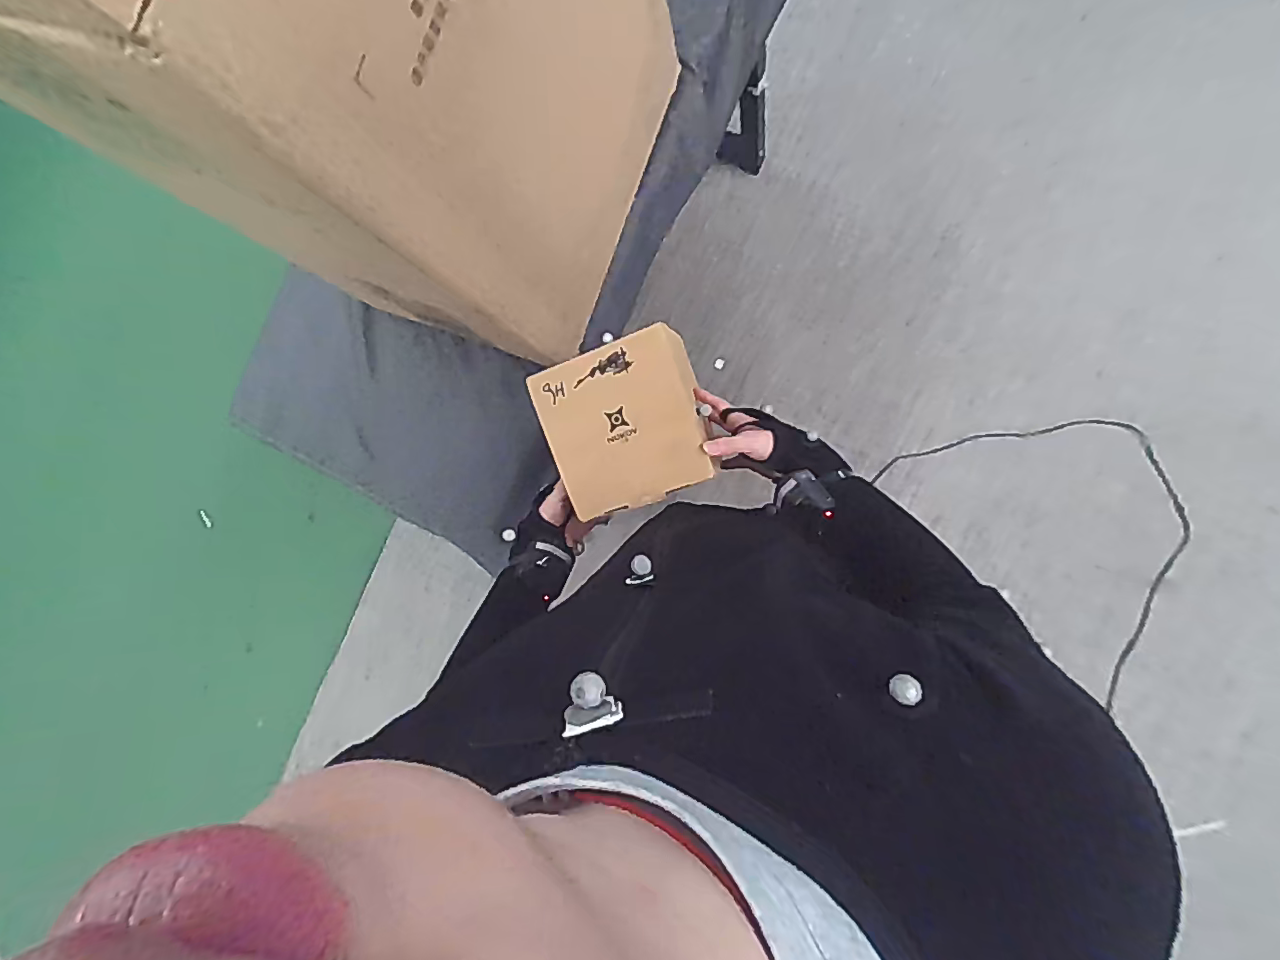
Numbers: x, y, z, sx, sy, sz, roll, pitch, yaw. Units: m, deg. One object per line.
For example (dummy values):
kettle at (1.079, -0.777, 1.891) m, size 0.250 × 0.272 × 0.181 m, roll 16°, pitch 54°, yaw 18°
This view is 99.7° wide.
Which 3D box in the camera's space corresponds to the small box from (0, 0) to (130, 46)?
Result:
small box at (-0.339, -0.341, 0.236) m, size 0.179 × 0.176 × 0.168 m, roll 21°, pitch 91°, yaw 15°
